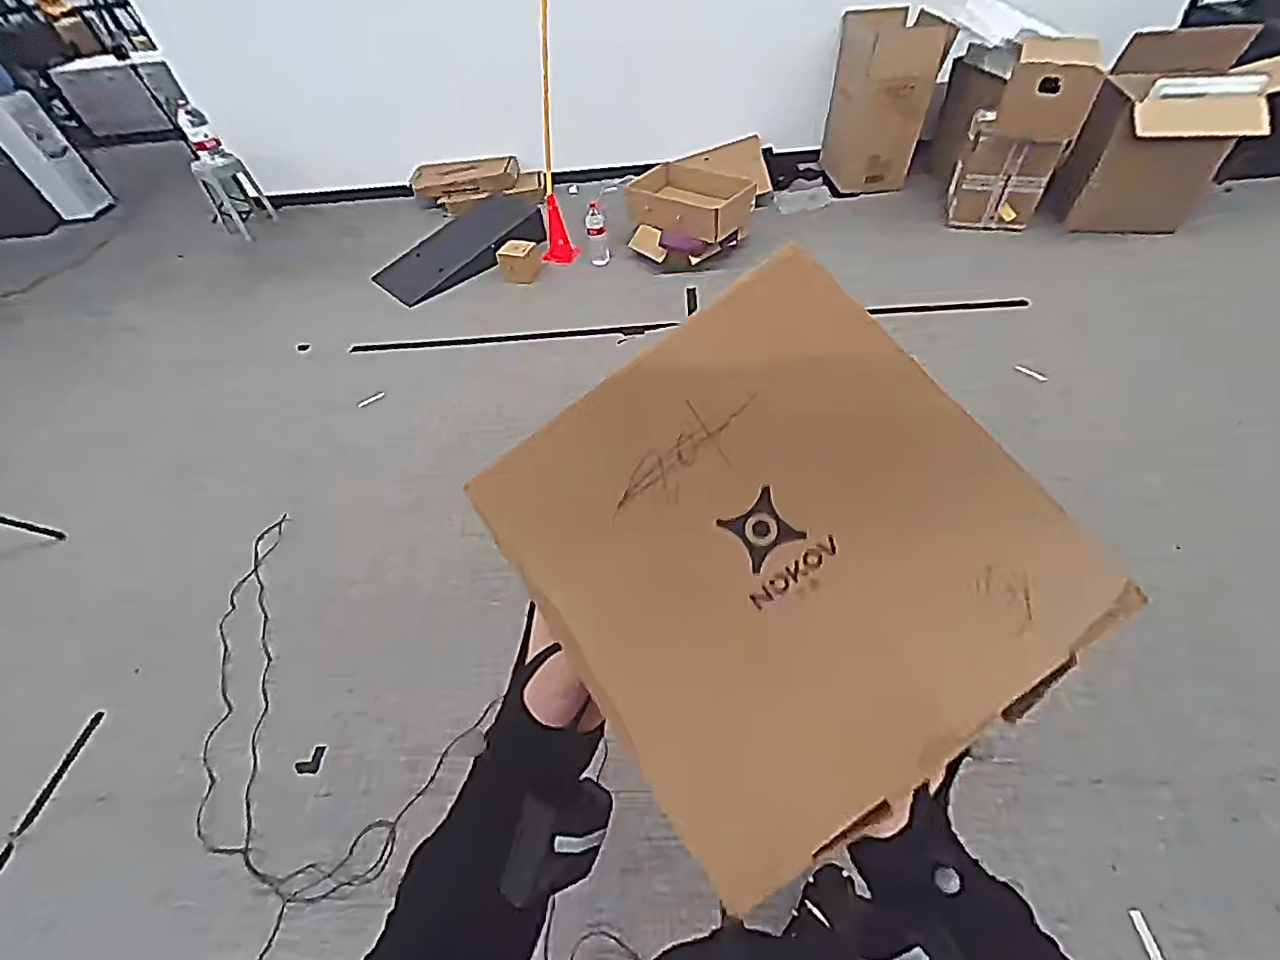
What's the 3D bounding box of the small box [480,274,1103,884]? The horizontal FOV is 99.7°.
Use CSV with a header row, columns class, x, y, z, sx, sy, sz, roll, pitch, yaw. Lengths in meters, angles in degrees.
class,x,y,z,sx,sy,sz,roll,pitch,yaw
small box,0.058,0.042,0.282,0.168,0.176,0.179,-37,73,-2
